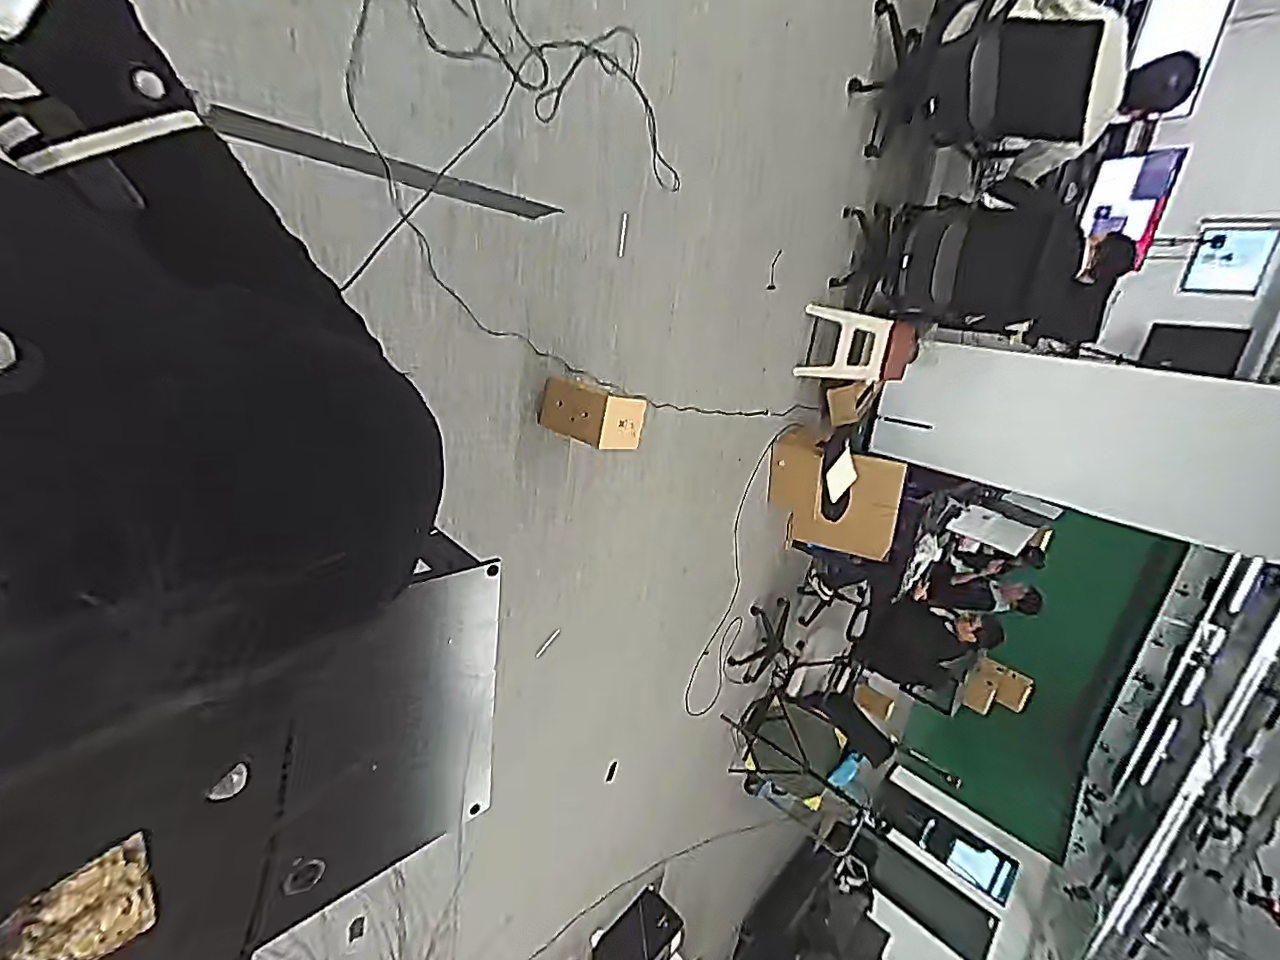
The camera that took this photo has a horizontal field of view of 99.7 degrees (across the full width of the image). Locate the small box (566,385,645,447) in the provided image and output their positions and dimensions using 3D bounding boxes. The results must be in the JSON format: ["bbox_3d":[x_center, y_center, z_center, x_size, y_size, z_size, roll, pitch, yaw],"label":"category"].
[{"bbox_3d":[-0.115,-0.208,1.750,0.179,0.176,0.168,-4,111,-47],"label":"small box"}]

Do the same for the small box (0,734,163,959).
[{"bbox_3d":[-0.651,0.413,0.573,0.179,0.176,0.168,-17,120,-43],"label":"small box"}]

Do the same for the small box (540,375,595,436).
[{"bbox_3d":[-0.225,-0.252,1.864,0.168,0.176,0.179,1,106,-48],"label":"small box"}]
